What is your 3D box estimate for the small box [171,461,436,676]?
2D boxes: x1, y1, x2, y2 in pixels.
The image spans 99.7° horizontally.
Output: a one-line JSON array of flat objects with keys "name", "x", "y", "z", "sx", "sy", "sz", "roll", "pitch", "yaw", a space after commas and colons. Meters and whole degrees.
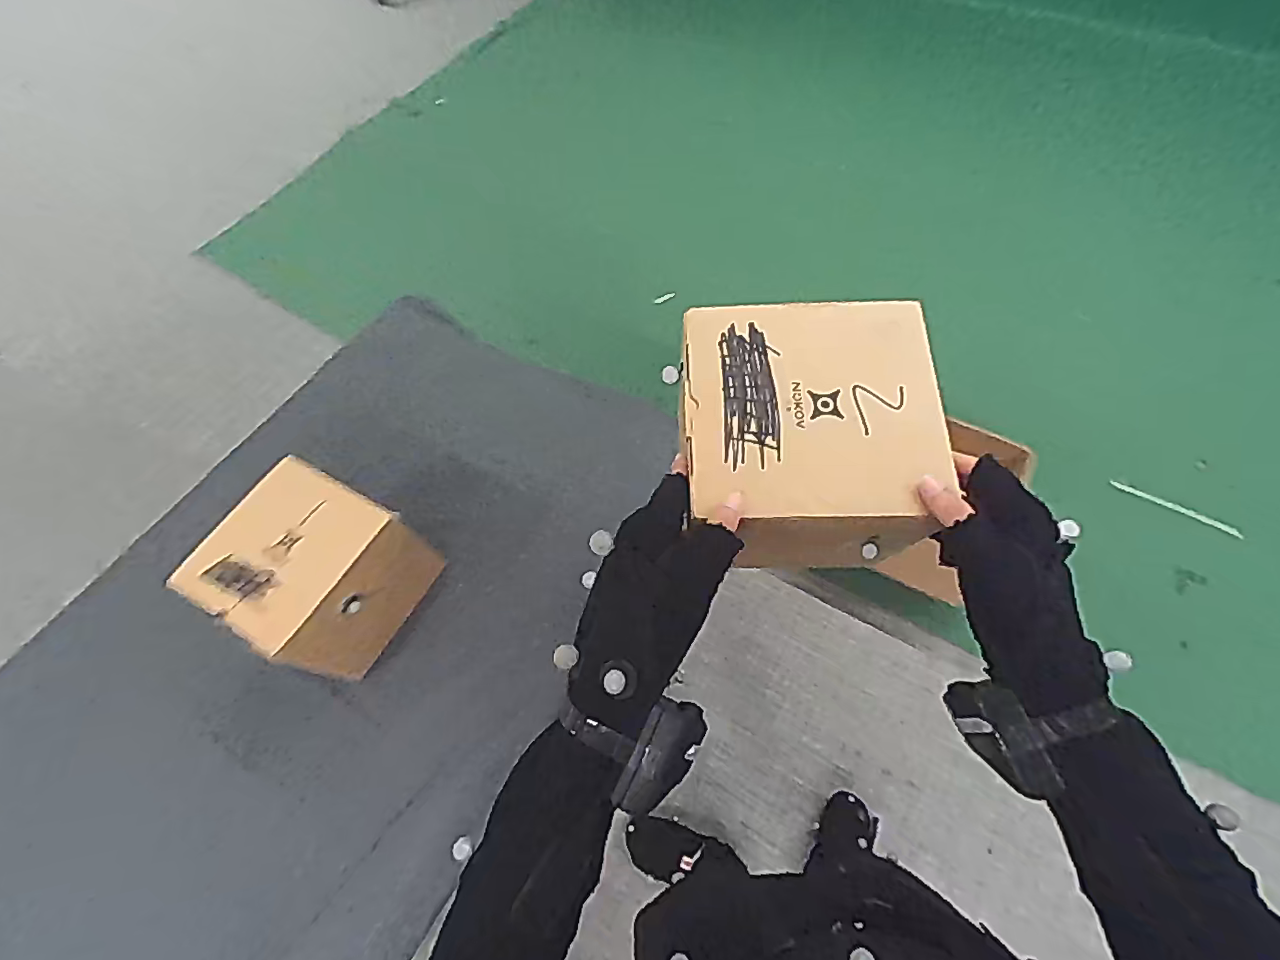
[{"name": "small box", "x": -0.382, "y": 0.115, "z": 0.652, "sx": 0.168, "sy": 0.176, "sz": 0.179, "roll": 25, "pitch": 67, "yaw": 15}]
